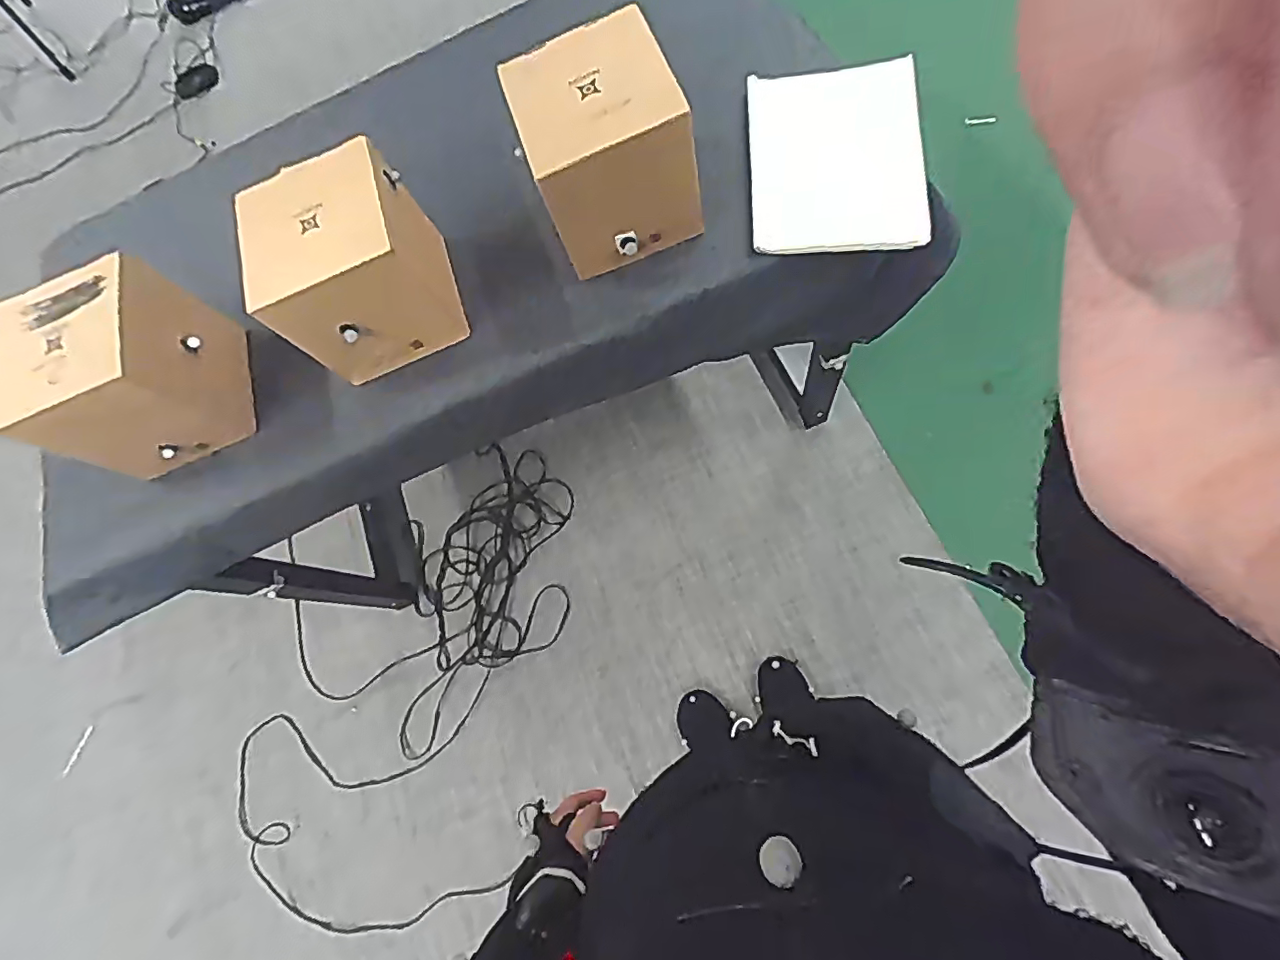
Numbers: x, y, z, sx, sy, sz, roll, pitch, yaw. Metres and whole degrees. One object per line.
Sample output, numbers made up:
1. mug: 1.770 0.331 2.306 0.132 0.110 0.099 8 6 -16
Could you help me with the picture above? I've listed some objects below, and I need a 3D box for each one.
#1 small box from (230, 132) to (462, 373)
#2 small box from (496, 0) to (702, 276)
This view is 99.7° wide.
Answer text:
1. small box: -0.333 -0.248 0.636 0.168 0.176 0.179 -22 70 4
2. small box: -0.038 -0.374 0.617 0.168 0.176 0.179 -22 71 5
